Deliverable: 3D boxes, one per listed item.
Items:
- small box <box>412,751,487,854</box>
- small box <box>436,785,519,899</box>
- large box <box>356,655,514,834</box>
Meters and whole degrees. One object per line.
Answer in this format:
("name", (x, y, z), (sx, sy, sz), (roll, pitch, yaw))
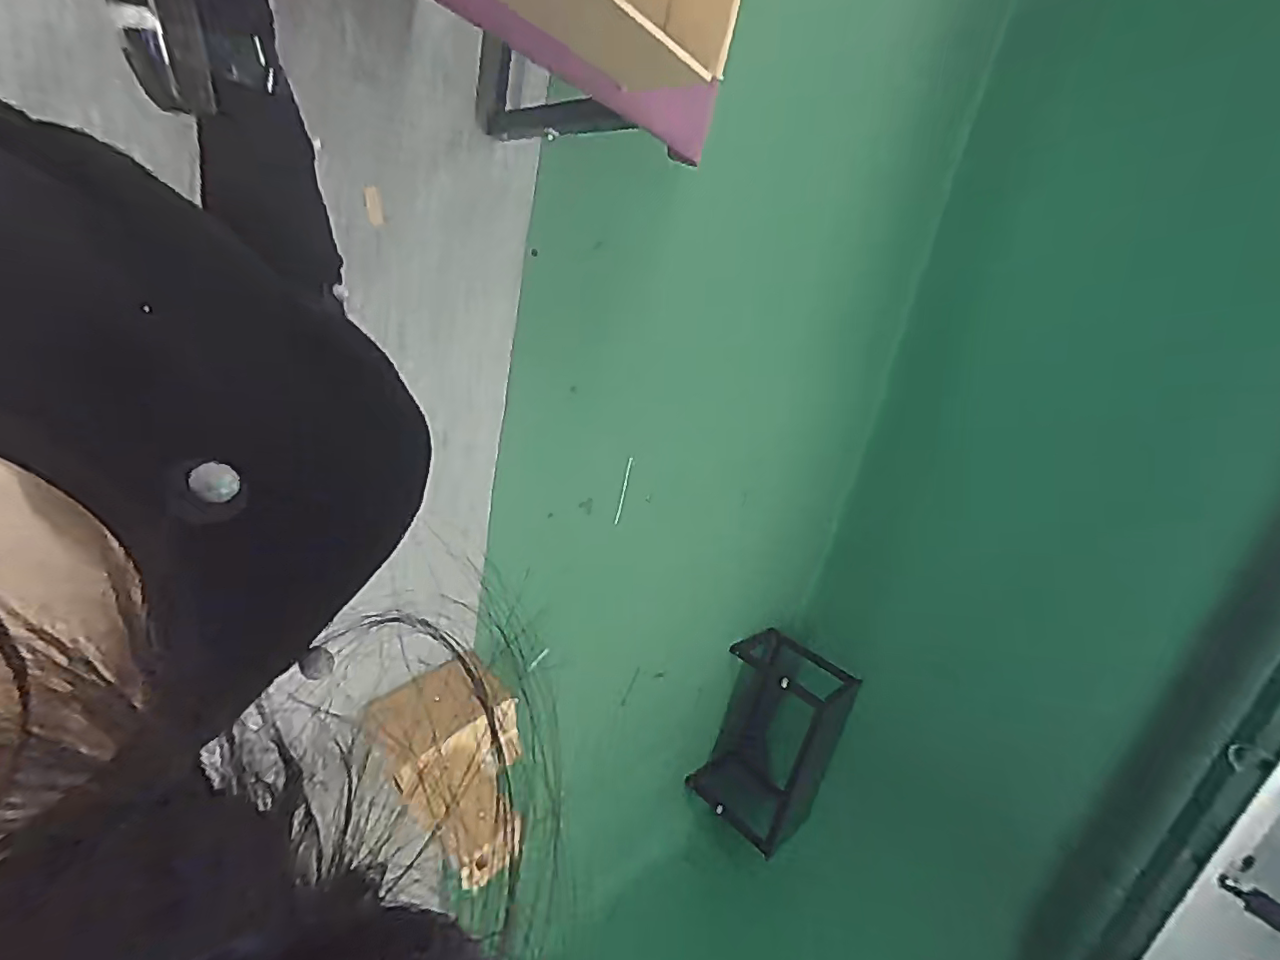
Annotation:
("small box", (-0.592, 0.991, 1.677), (0.179, 0.176, 0.168), (-17, 122, -42))
("small box", (-0.476, 1.044, 1.573), (0.179, 0.176, 0.168), (-23, 126, -41))
("large box", (-0.705, 0.900, 1.893), (0.408, 0.320, 0.320), (-23, 127, -41))
